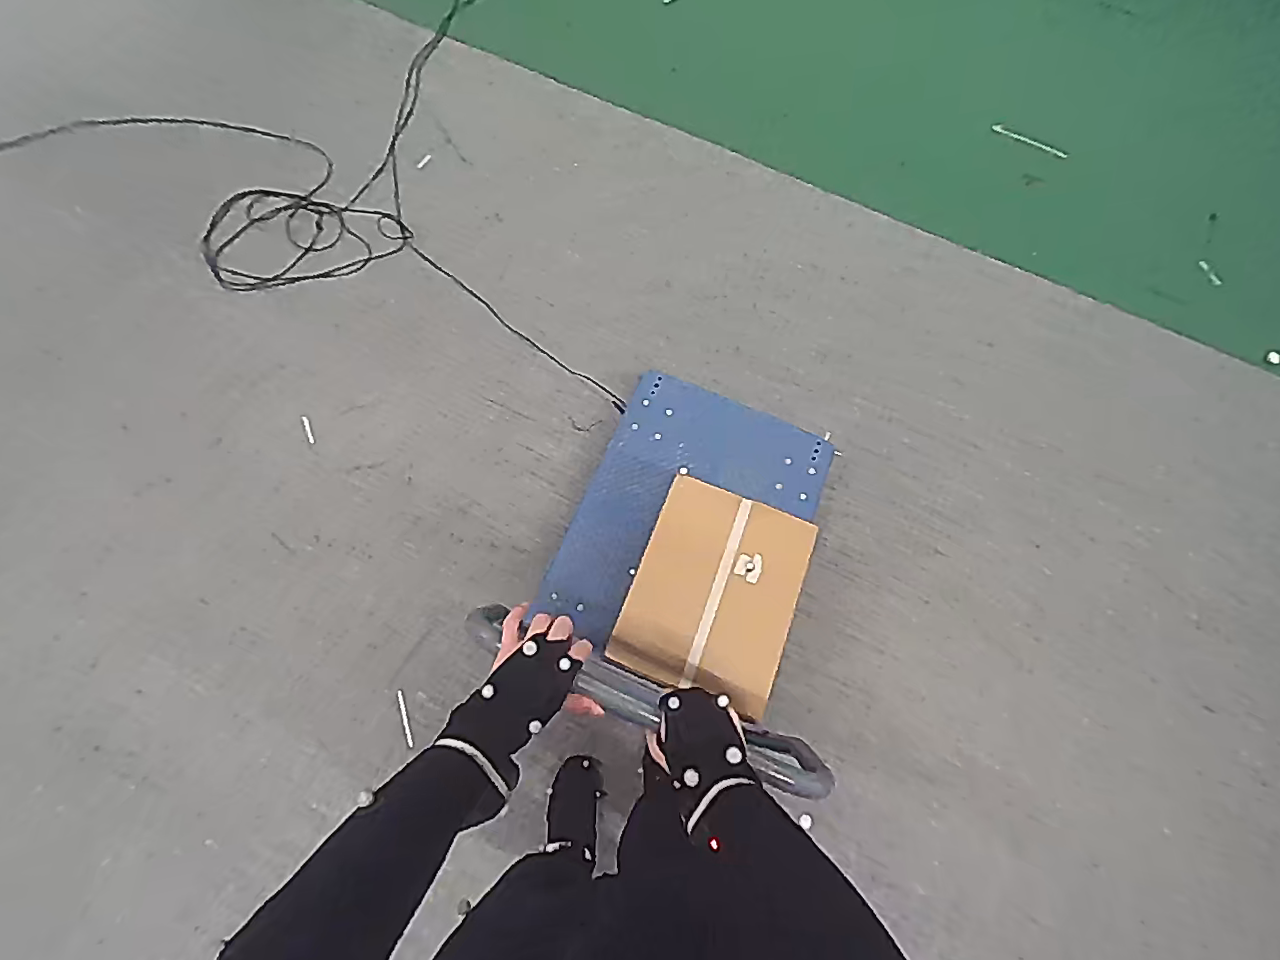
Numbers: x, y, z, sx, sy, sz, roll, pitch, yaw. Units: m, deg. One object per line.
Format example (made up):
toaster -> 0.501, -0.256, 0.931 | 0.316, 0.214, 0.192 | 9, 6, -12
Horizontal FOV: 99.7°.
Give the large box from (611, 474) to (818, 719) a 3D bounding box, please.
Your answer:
large box -> 0.147, 0.263, 1.194 | 0.320, 0.320, 0.408 | 22, 70, 4
